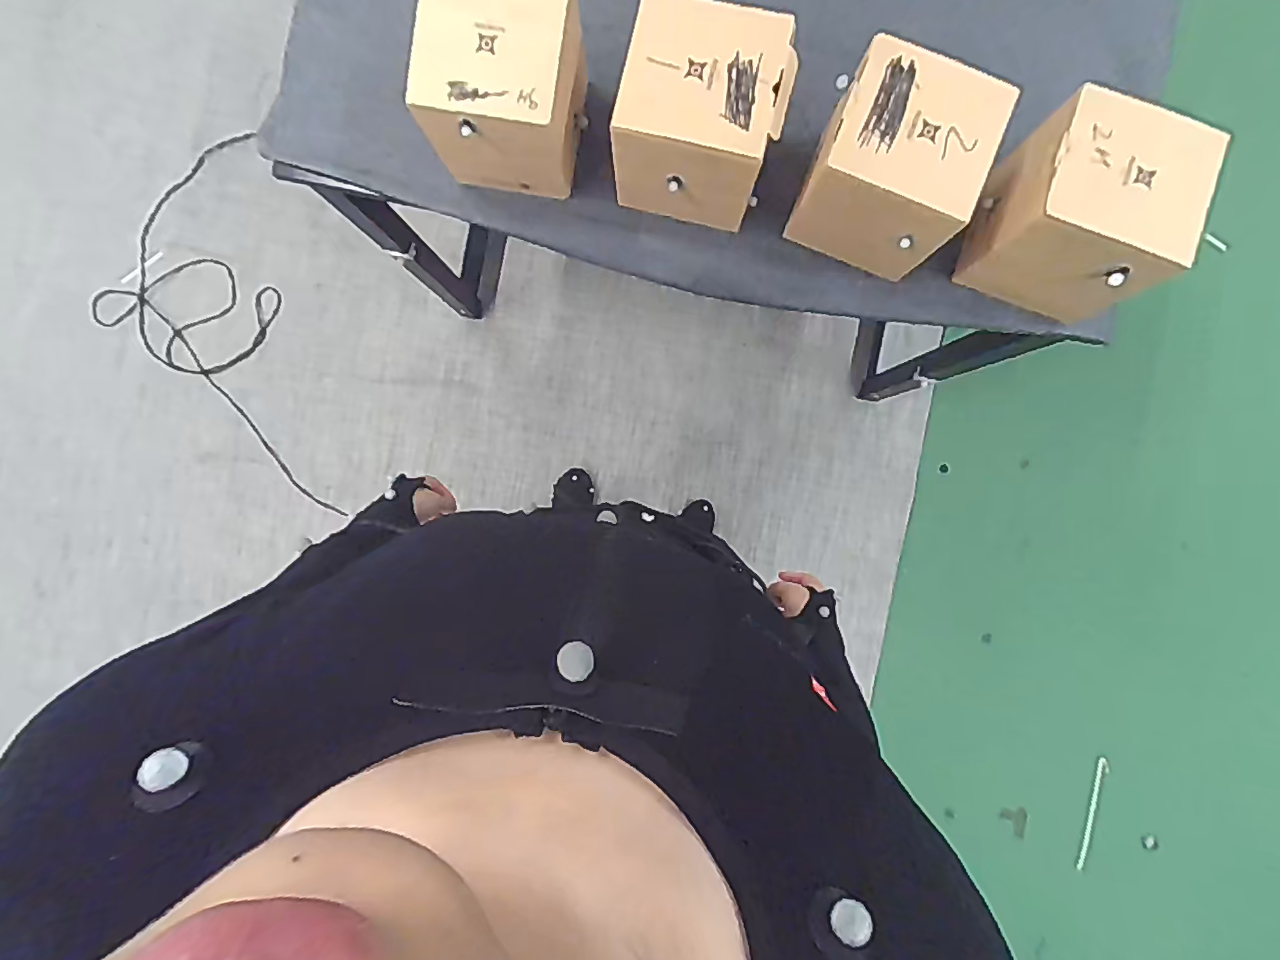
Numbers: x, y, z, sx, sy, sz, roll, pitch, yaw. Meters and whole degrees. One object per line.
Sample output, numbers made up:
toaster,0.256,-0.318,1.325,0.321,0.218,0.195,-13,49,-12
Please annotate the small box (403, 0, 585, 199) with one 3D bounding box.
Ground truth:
small box,-0.167,-0.490,0.677,0.168,0.176,0.179,10,90,1
